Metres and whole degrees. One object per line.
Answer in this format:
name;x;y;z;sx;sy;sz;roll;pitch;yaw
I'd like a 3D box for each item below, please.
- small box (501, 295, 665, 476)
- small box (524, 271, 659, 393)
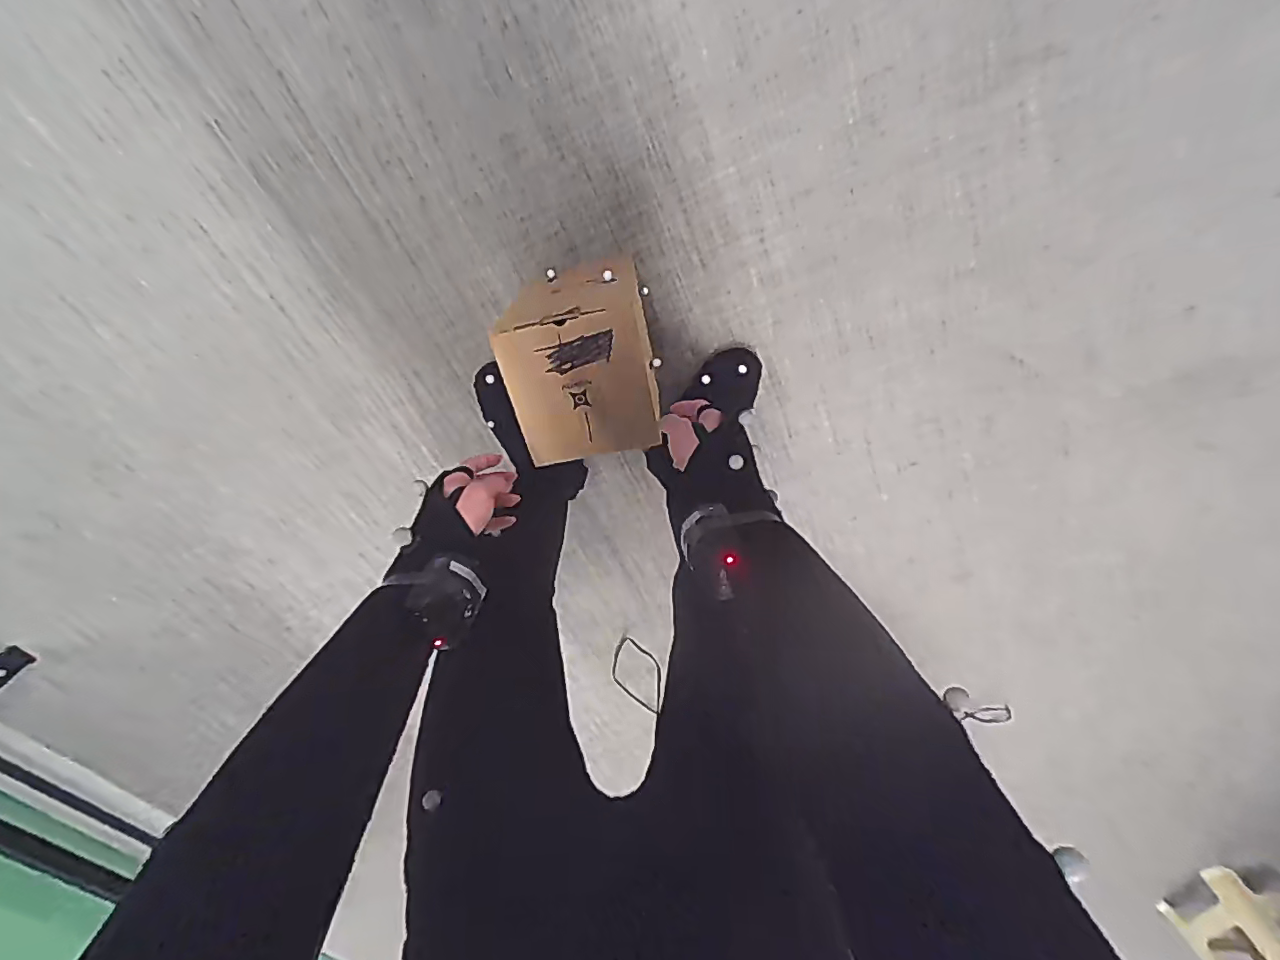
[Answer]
small box;-0.064;-0.131;0.705;0.168;0.176;0.179;-9;122;6
small box;-0.068;-0.216;0.846;0.168;0.176;0.179;-10;122;6
